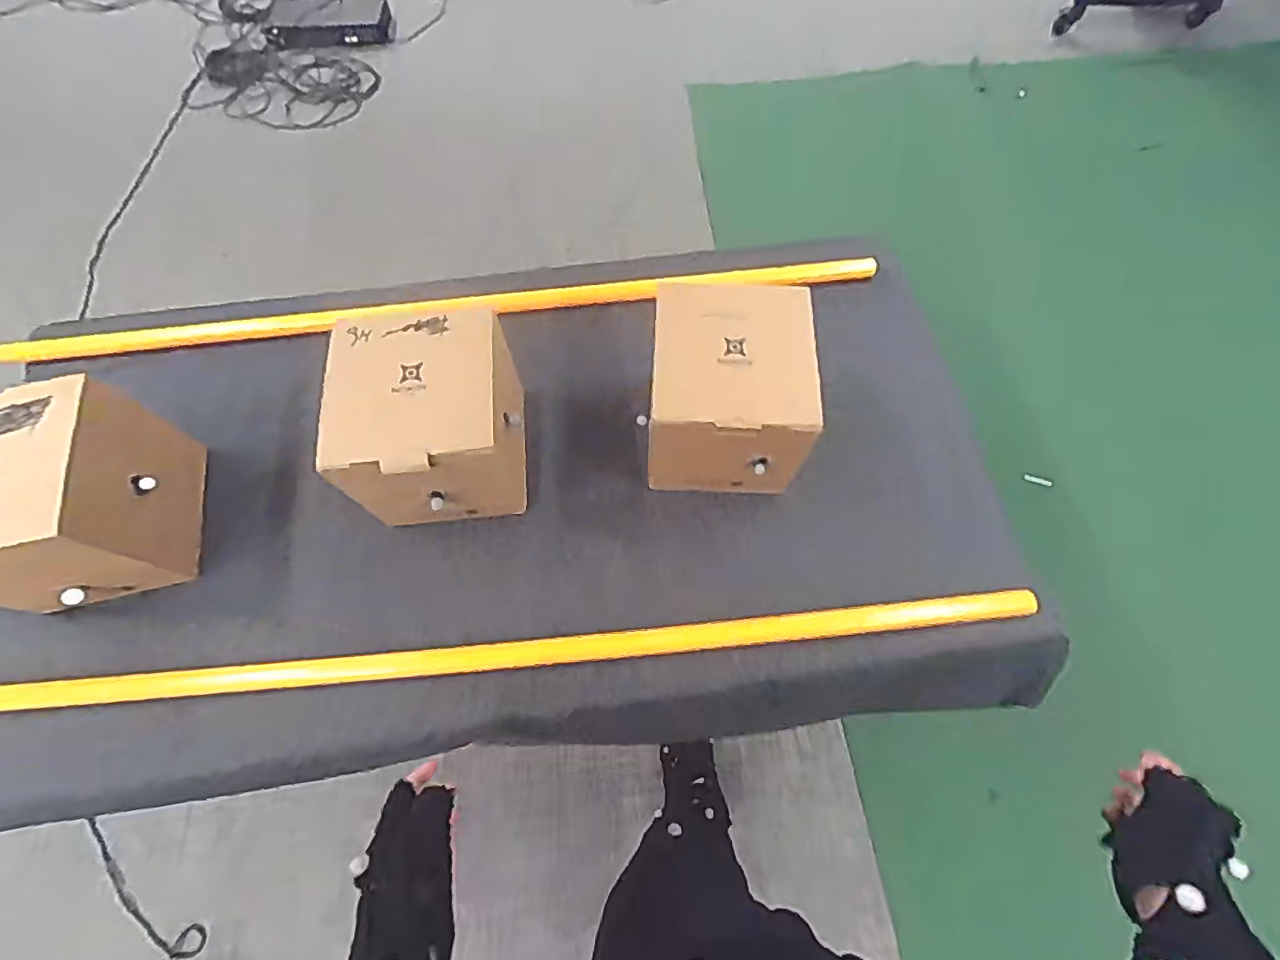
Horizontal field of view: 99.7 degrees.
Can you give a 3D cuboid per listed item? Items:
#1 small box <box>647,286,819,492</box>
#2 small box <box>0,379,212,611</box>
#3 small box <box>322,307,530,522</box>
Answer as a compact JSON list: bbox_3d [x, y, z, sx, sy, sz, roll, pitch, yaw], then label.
[{"bbox_3d":[0.094,-0.096,0.624,0.168,0.176,0.179,2,65,0],"label":"small box"},{"bbox_3d":[-0.597,0.023,0.572,0.168,0.176,0.179,-13,68,-5],"label":"small box"},{"bbox_3d":[-0.227,-0.061,0.611,0.168,0.176,0.179,-9,66,-2],"label":"small box"}]
